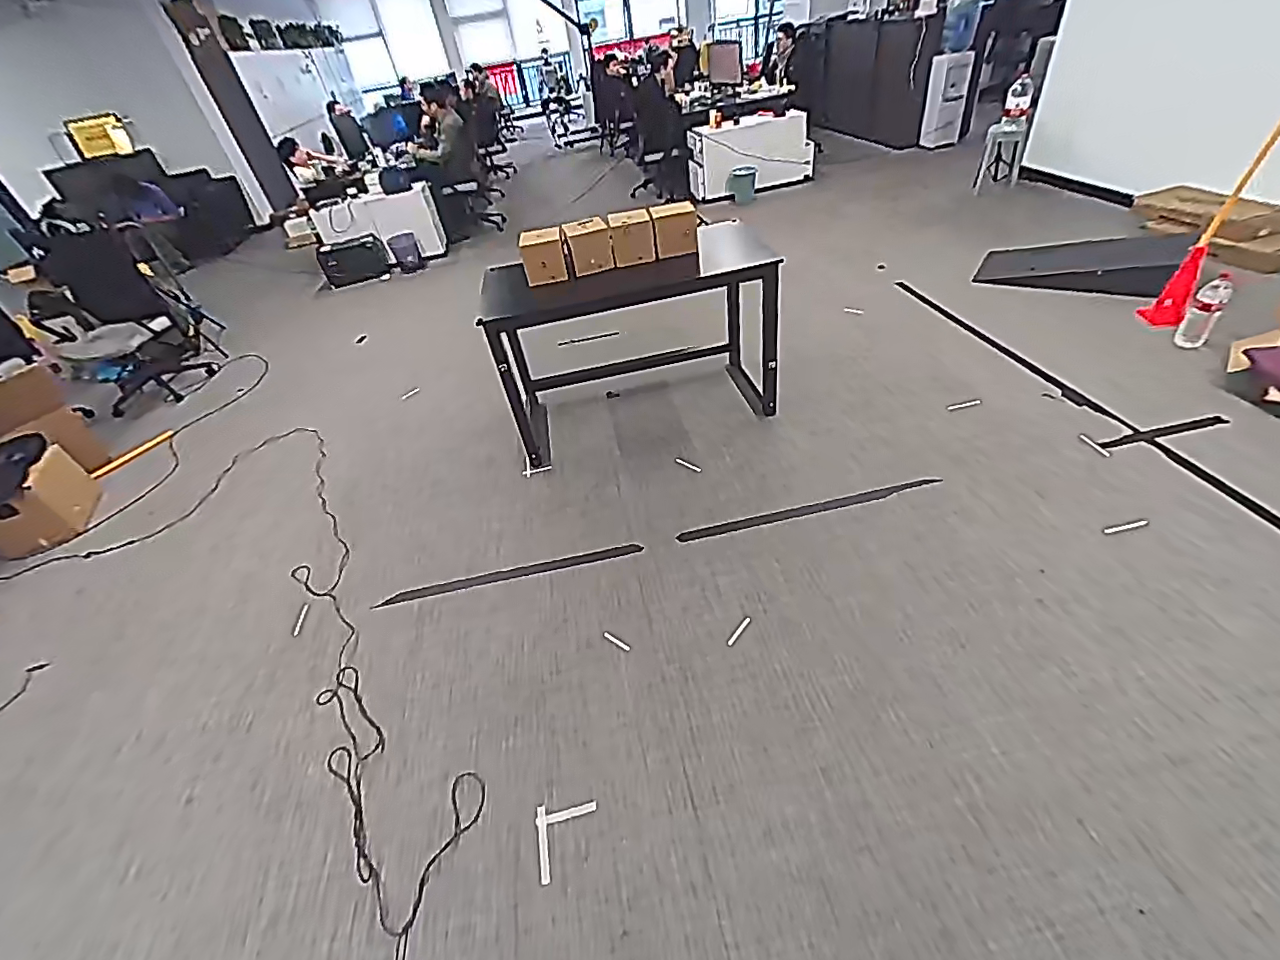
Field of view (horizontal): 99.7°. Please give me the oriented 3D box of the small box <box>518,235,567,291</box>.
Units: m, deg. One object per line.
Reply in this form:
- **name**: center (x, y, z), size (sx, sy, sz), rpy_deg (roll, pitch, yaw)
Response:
- **small box**: center (-0.408, -0.910, 2.282), size (0.168, 0.176, 0.179), rpy_deg (-10, 39, 0)
